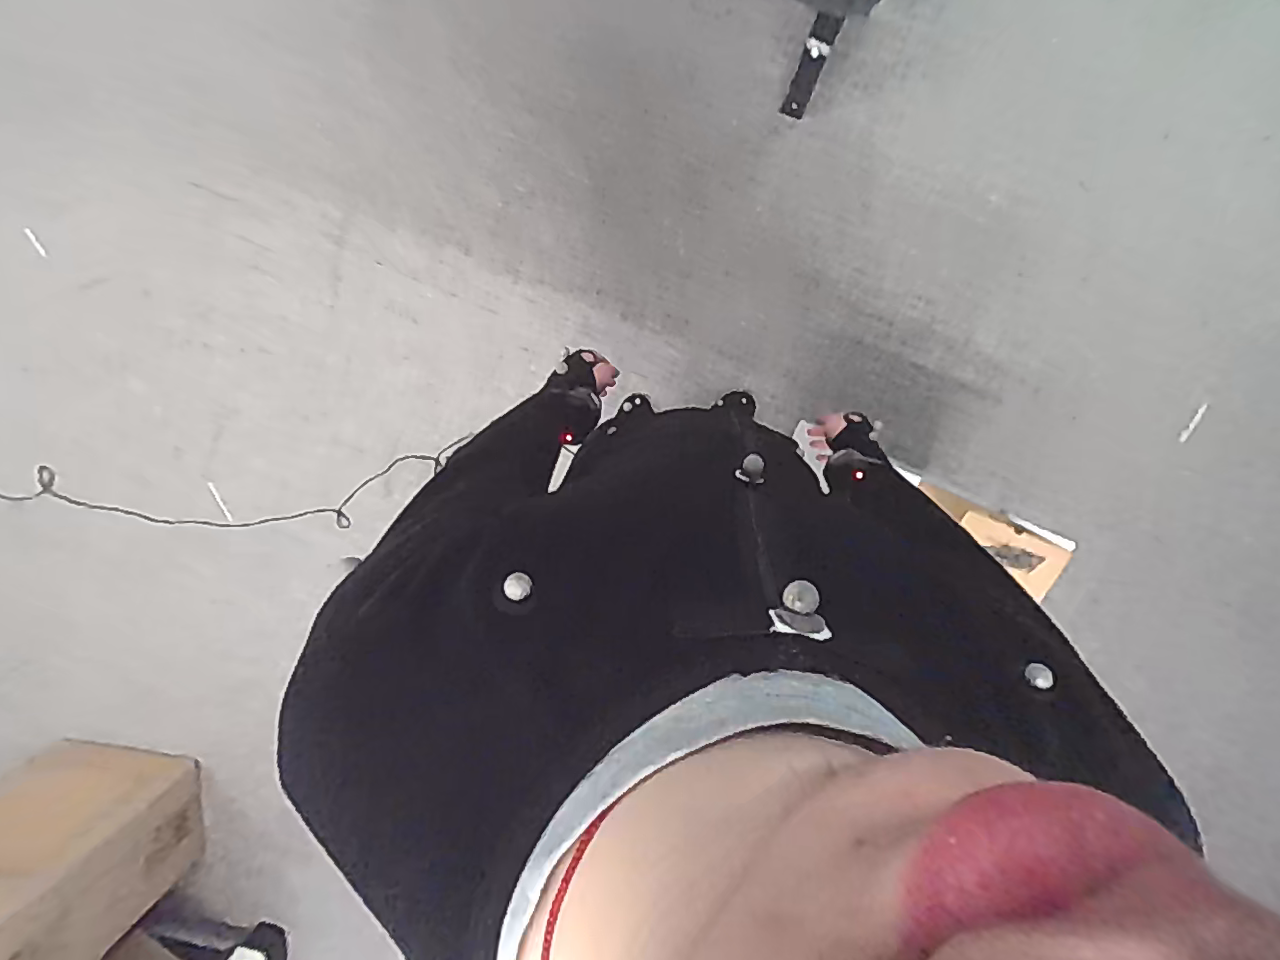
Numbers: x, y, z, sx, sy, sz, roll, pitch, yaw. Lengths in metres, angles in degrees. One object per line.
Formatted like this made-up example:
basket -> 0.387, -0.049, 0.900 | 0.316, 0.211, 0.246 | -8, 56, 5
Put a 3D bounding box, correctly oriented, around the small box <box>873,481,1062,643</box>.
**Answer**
small box -> 0.510, 0.121, 0.877 | 0.168, 0.176, 0.179 | 23, 106, -2
